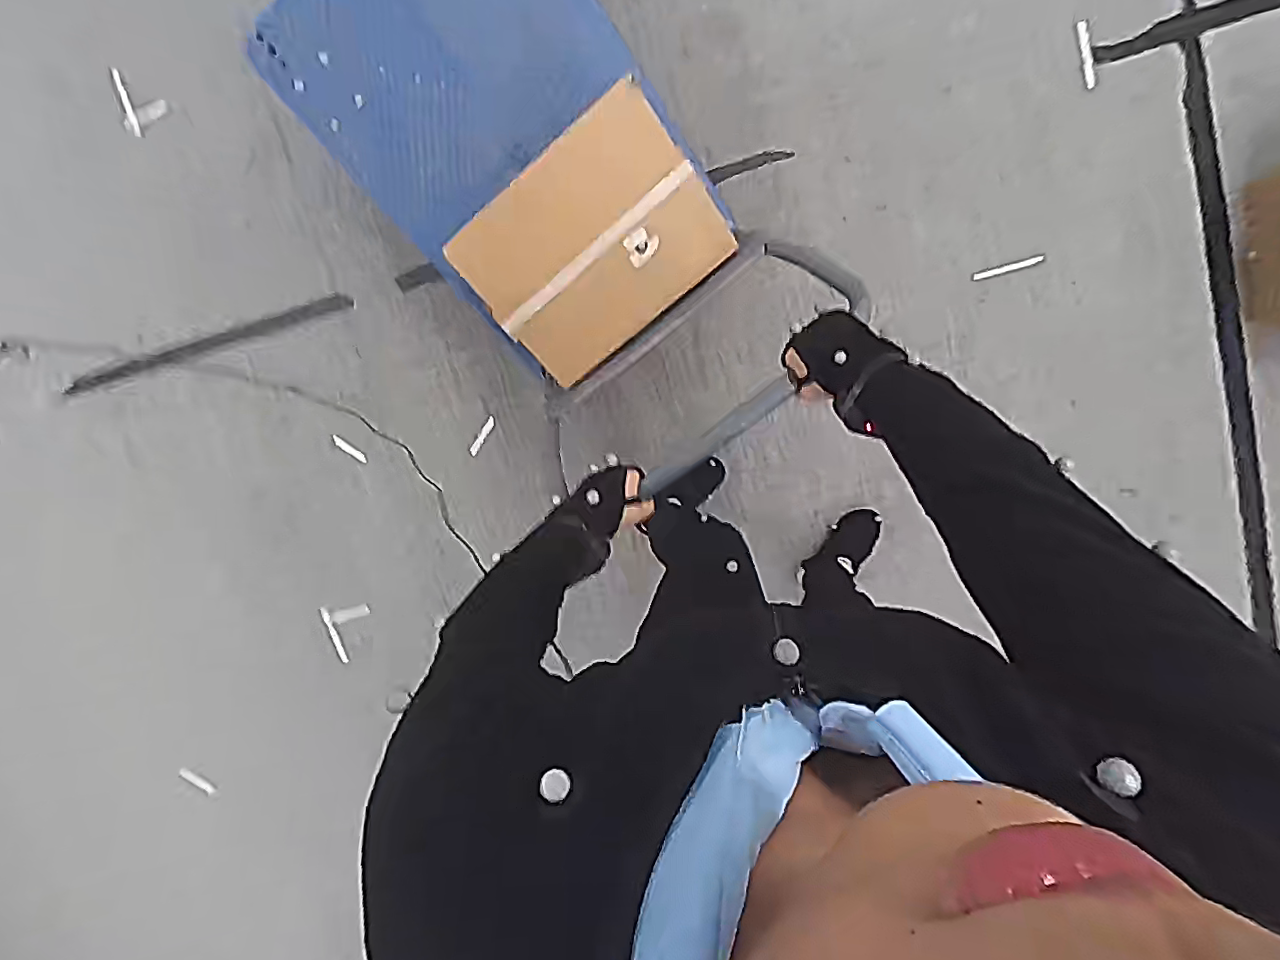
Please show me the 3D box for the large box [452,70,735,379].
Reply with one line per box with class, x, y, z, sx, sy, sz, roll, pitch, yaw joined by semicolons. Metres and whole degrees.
large box;-0.092;-0.473;1.062;0.408;0.320;0.320;-38;115;11
